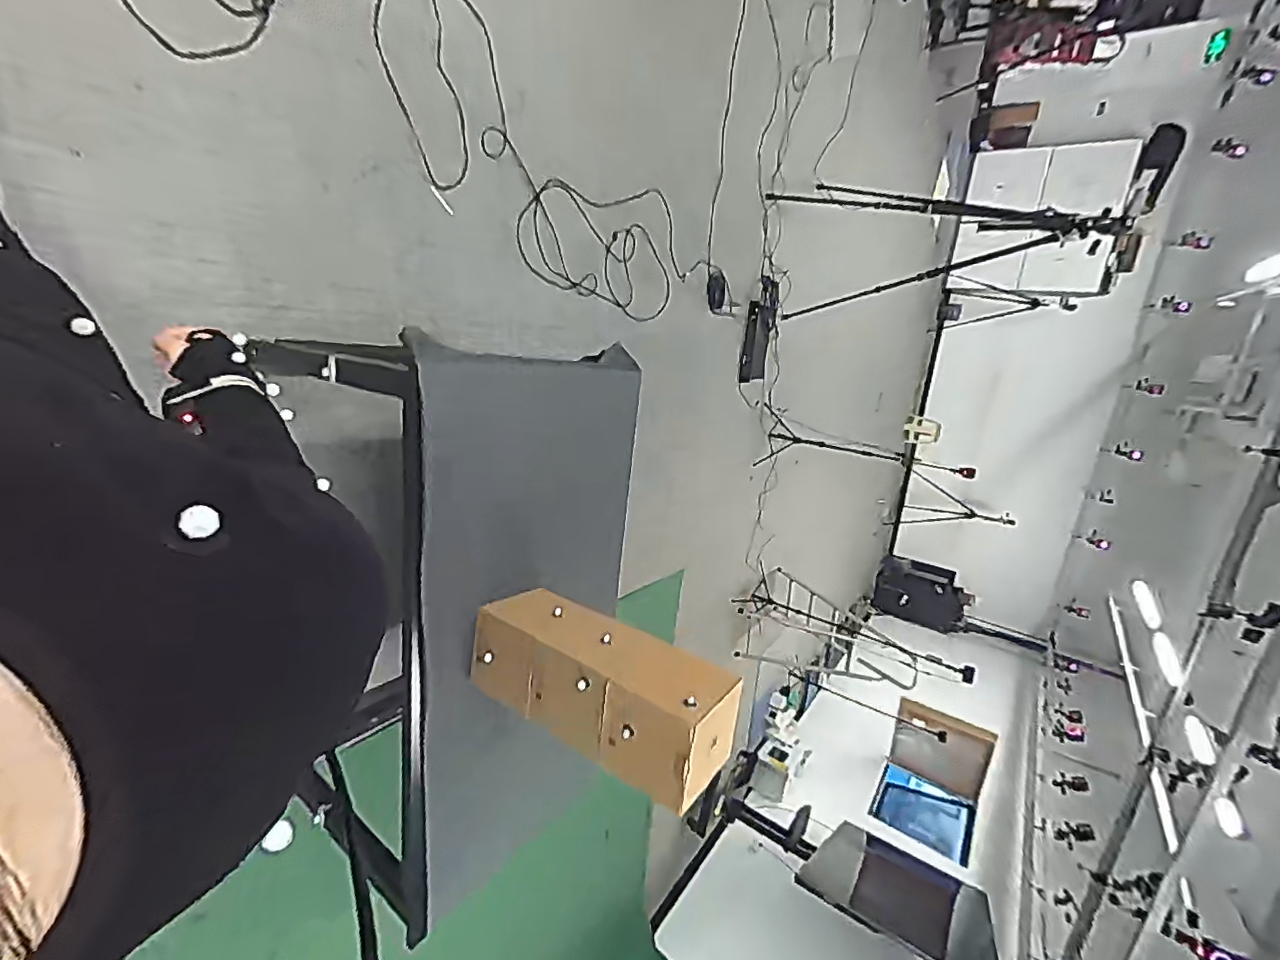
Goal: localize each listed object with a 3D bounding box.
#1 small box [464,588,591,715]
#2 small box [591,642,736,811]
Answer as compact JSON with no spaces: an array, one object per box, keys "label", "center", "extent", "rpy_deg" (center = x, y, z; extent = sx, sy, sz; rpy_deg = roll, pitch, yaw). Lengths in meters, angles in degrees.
[{"label":"small box","center":[-0.228,0.334,1.098],"extent":[0.179,0.176,0.168],"rpy_deg":[-6,107,-56]},{"label":"small box","center":[0.041,0.405,0.926],"extent":[0.179,0.176,0.168],"rpy_deg":[-13,114,-55]}]
